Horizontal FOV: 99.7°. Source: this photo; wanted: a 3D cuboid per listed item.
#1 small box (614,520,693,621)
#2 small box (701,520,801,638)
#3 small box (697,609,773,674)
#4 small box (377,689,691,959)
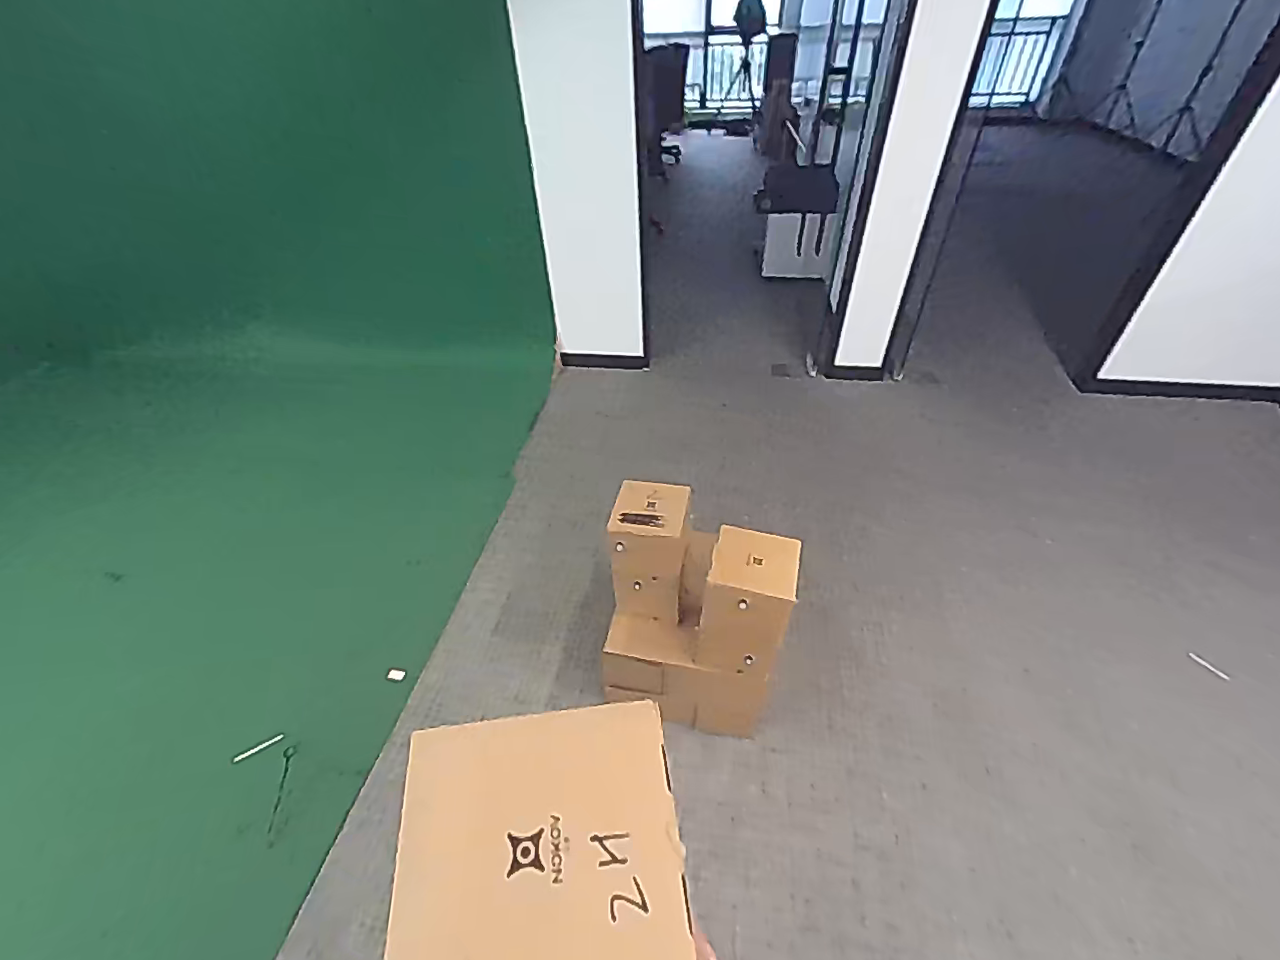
[{"bbox_3d":[0.037,0.234,1.402,0.168,0.176,0.179,9,41,14],"label":"small box"},{"bbox_3d":[0.237,0.217,1.167,0.179,0.176,0.168,11,43,13],"label":"small box"},{"bbox_3d":[0.232,0.331,1.283,0.168,0.176,0.179,11,42,12],"label":"small box"},{"bbox_3d":[-0.066,0.271,0.399,0.179,0.176,0.168,-4,52,-6],"label":"small box"}]
